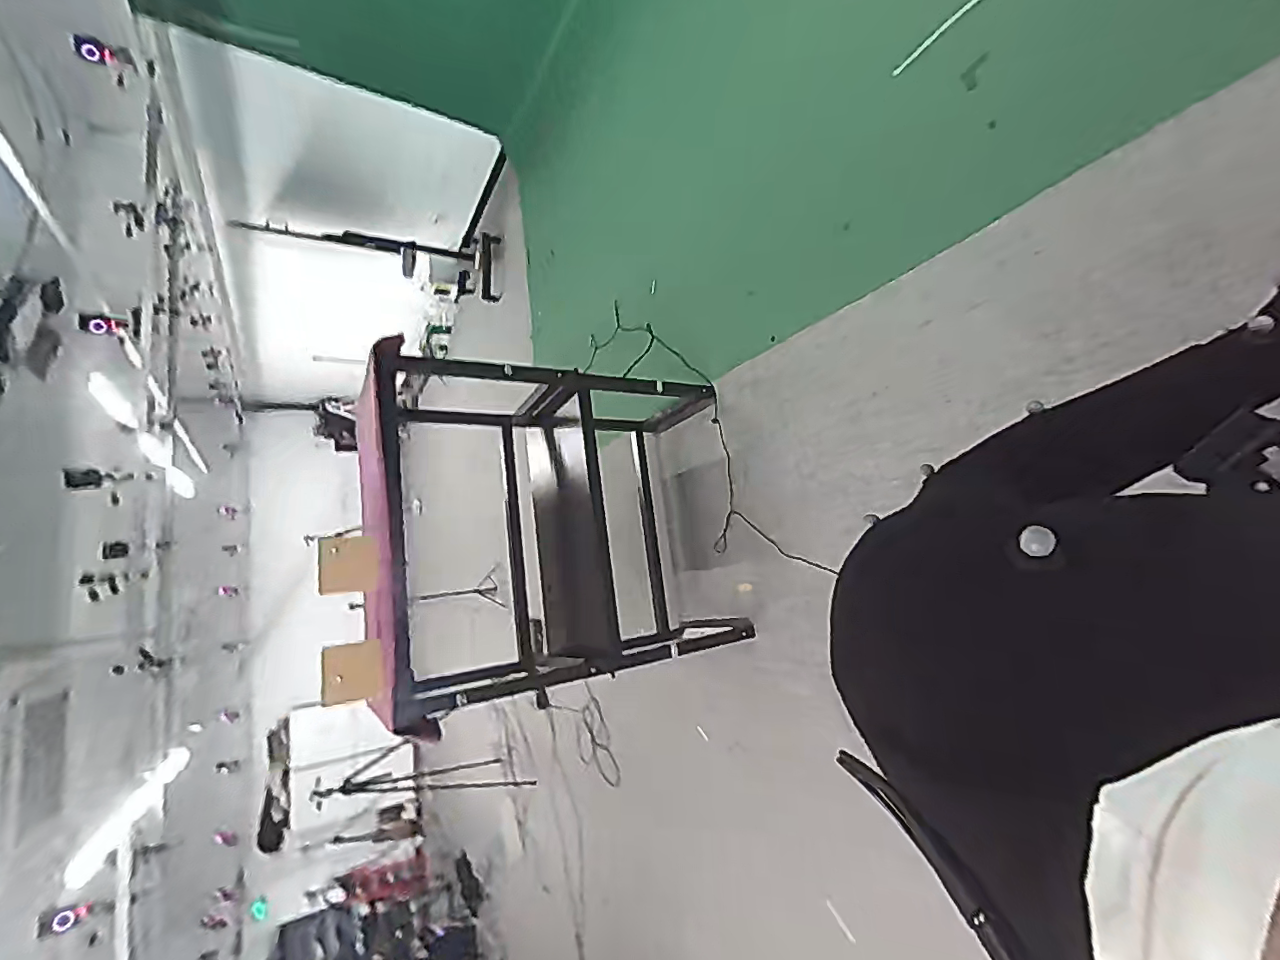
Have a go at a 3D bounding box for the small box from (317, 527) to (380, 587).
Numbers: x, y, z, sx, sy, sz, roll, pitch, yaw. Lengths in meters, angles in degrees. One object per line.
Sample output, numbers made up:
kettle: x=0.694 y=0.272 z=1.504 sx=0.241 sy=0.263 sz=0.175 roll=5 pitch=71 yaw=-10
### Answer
small box: x=-0.948 y=0.249 z=1.753 sx=0.168 sy=0.176 sz=0.179 roll=-23 pitch=71 yaw=57

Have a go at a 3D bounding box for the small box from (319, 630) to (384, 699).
small box: x=-0.899 y=0.570 z=1.682 sx=0.168 sy=0.176 sz=0.179 roll=-29 pitch=66 yaw=54
